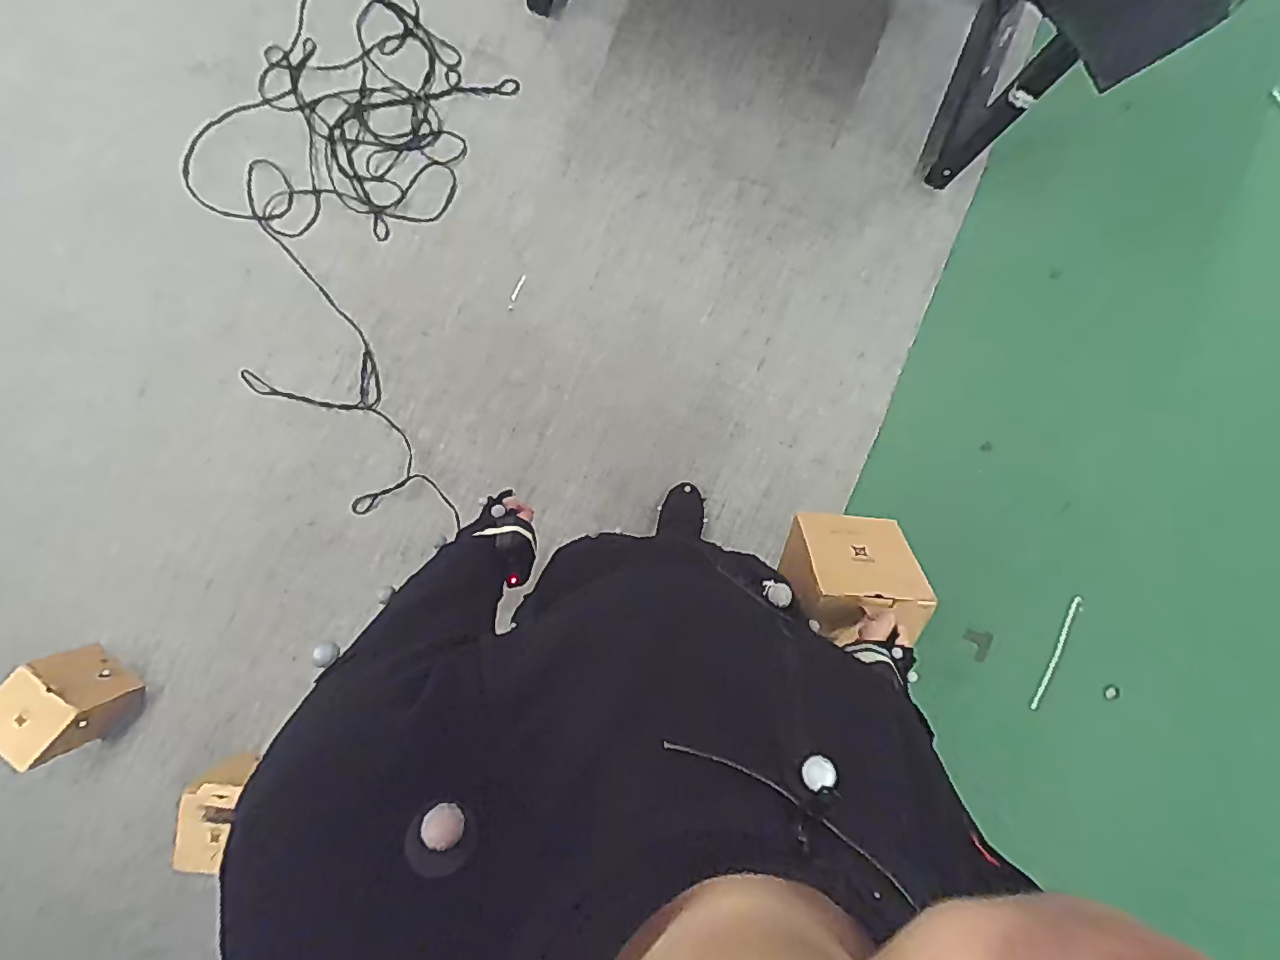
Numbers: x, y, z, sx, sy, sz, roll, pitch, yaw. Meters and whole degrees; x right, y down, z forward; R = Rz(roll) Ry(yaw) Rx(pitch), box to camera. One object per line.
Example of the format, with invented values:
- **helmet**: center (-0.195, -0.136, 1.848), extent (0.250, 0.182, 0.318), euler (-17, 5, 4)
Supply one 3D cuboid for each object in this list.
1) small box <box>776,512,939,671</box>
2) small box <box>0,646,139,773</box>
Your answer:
- **small box**: center (0.321, 0.174, 0.839), extent (0.168, 0.179, 0.176), euler (6, 126, -2)
- **small box**: center (-1.327, 0.515, 1.238), extent (0.168, 0.176, 0.179), euler (41, 88, 0)
